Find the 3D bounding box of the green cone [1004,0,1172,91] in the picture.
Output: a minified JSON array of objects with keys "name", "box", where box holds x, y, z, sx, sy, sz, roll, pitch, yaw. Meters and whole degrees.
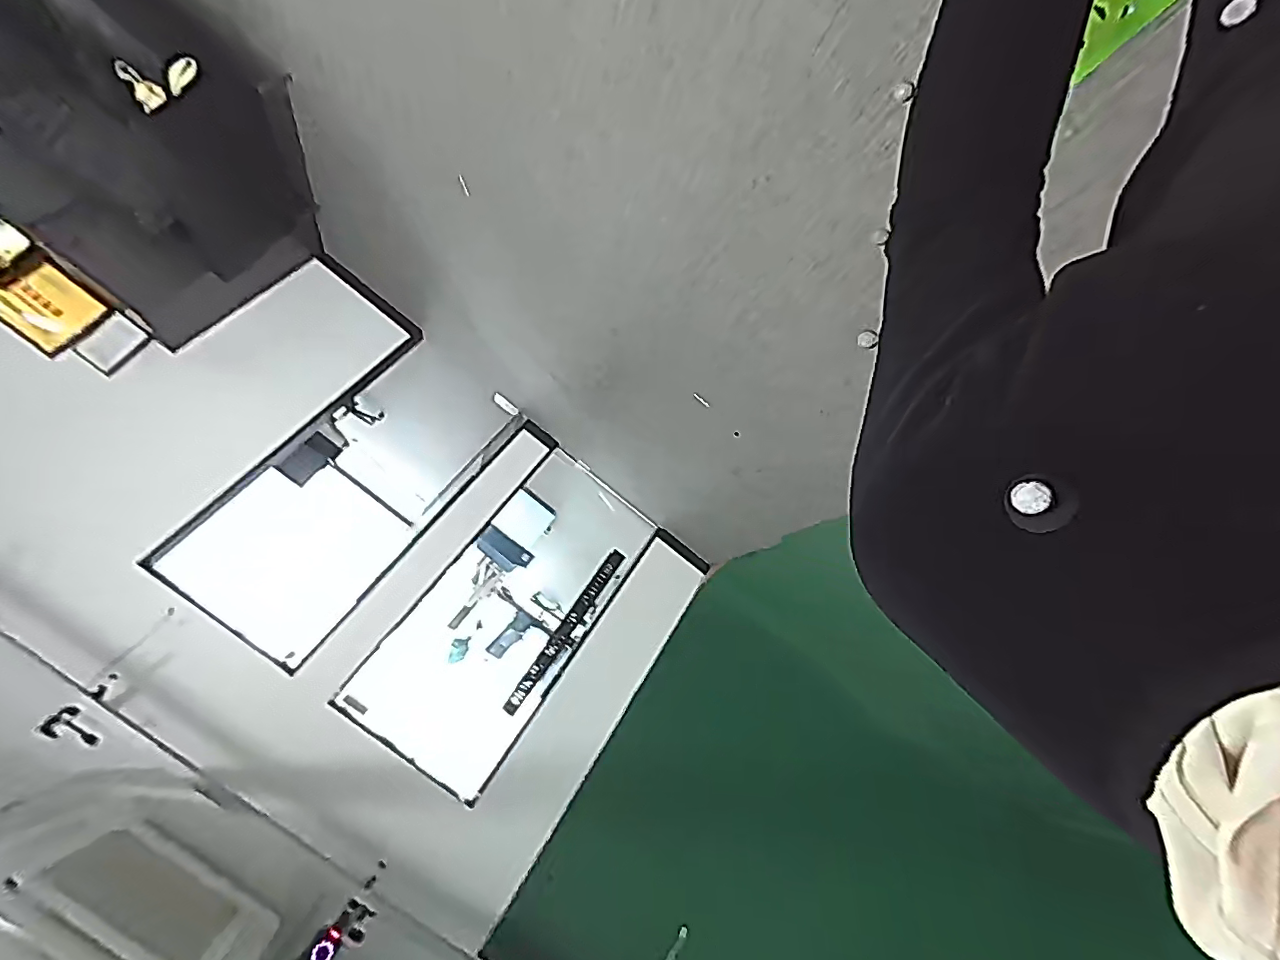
[{"name":"green cone","box":[0.739,-0.755,0.928,0.200,0.368,0.202,40,152,-7]}]
